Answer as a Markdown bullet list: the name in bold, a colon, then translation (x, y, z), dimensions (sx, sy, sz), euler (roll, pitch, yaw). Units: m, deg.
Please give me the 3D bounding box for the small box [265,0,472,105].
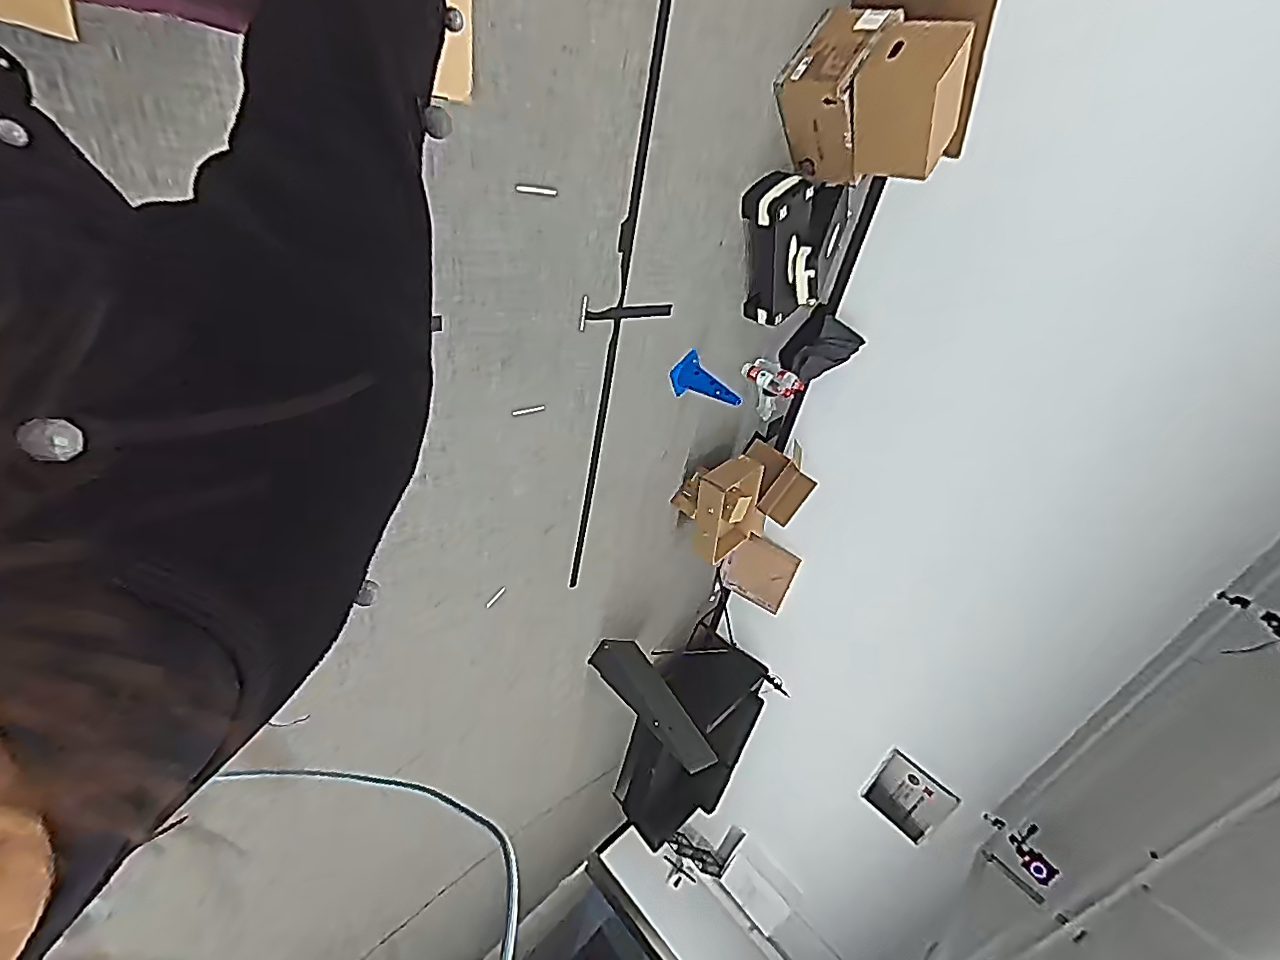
- **small box**: translation (-0.303, -0.542, 0.597), dimensions (0.168, 0.176, 0.179), euler (-20, 134, -40)
